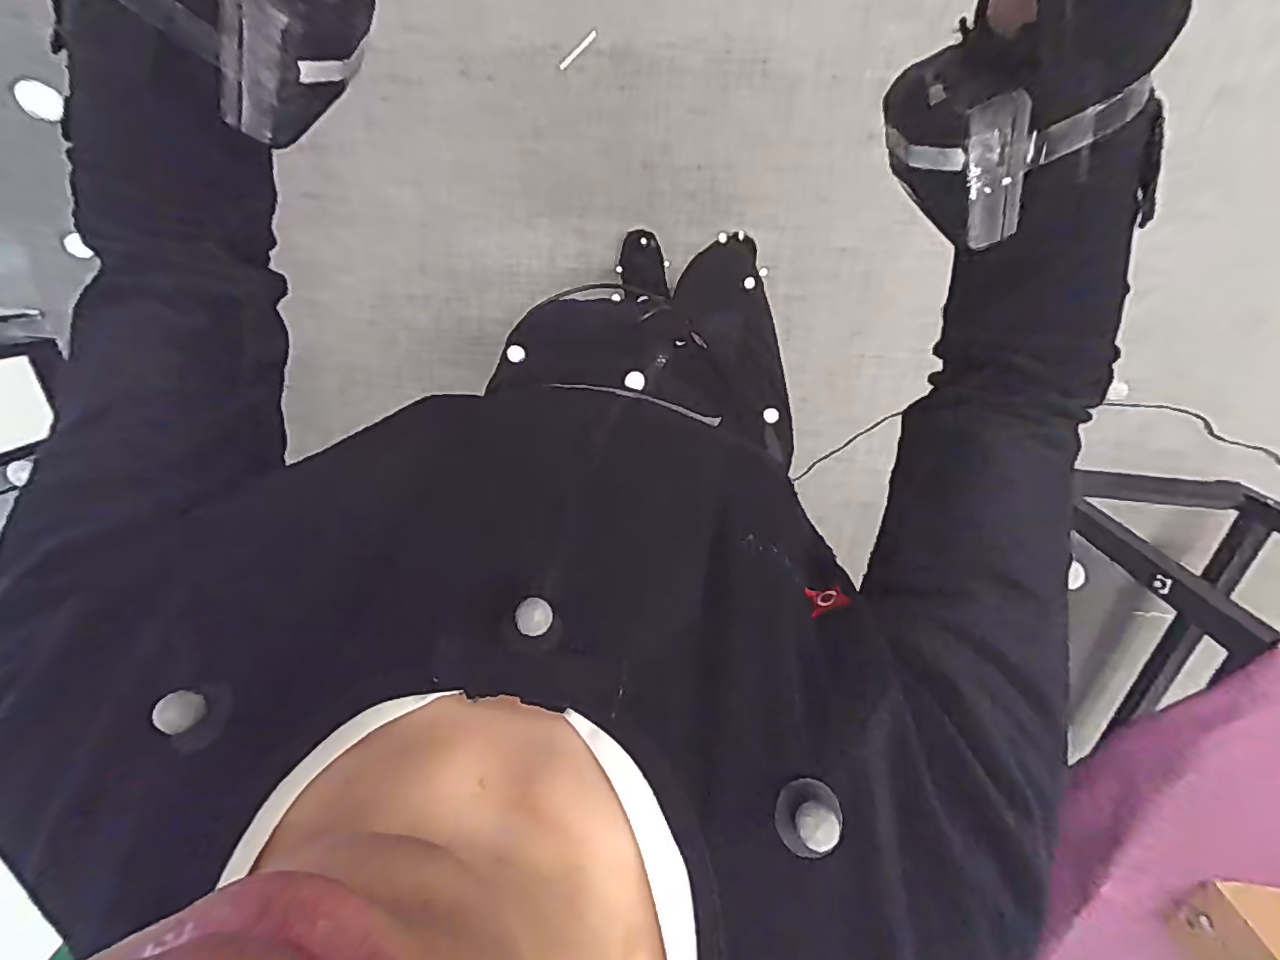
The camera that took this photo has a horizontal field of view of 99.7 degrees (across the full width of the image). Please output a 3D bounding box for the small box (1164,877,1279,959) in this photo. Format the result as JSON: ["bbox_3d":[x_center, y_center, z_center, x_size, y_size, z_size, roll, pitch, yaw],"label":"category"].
[{"bbox_3d":[1.095,0.830,0.937,0.179,0.176,0.168,9,114,1],"label":"small box"}]
